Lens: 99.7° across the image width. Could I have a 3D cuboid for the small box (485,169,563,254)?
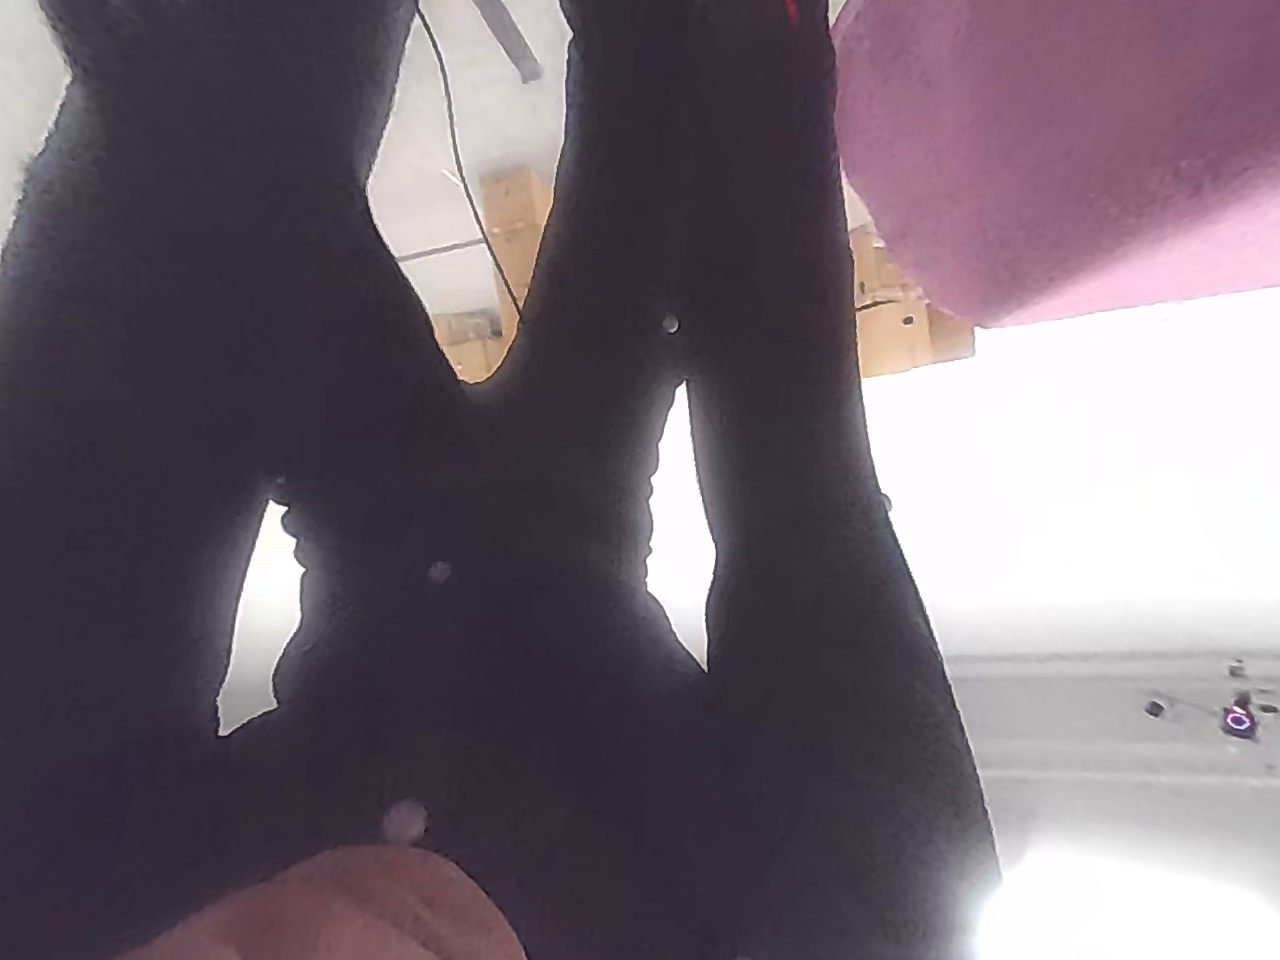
[{"bbox_3d":[-0.348,-0.807,1.636,0.168,0.176,0.179,-5,-176,17],"label":"small box"}]
